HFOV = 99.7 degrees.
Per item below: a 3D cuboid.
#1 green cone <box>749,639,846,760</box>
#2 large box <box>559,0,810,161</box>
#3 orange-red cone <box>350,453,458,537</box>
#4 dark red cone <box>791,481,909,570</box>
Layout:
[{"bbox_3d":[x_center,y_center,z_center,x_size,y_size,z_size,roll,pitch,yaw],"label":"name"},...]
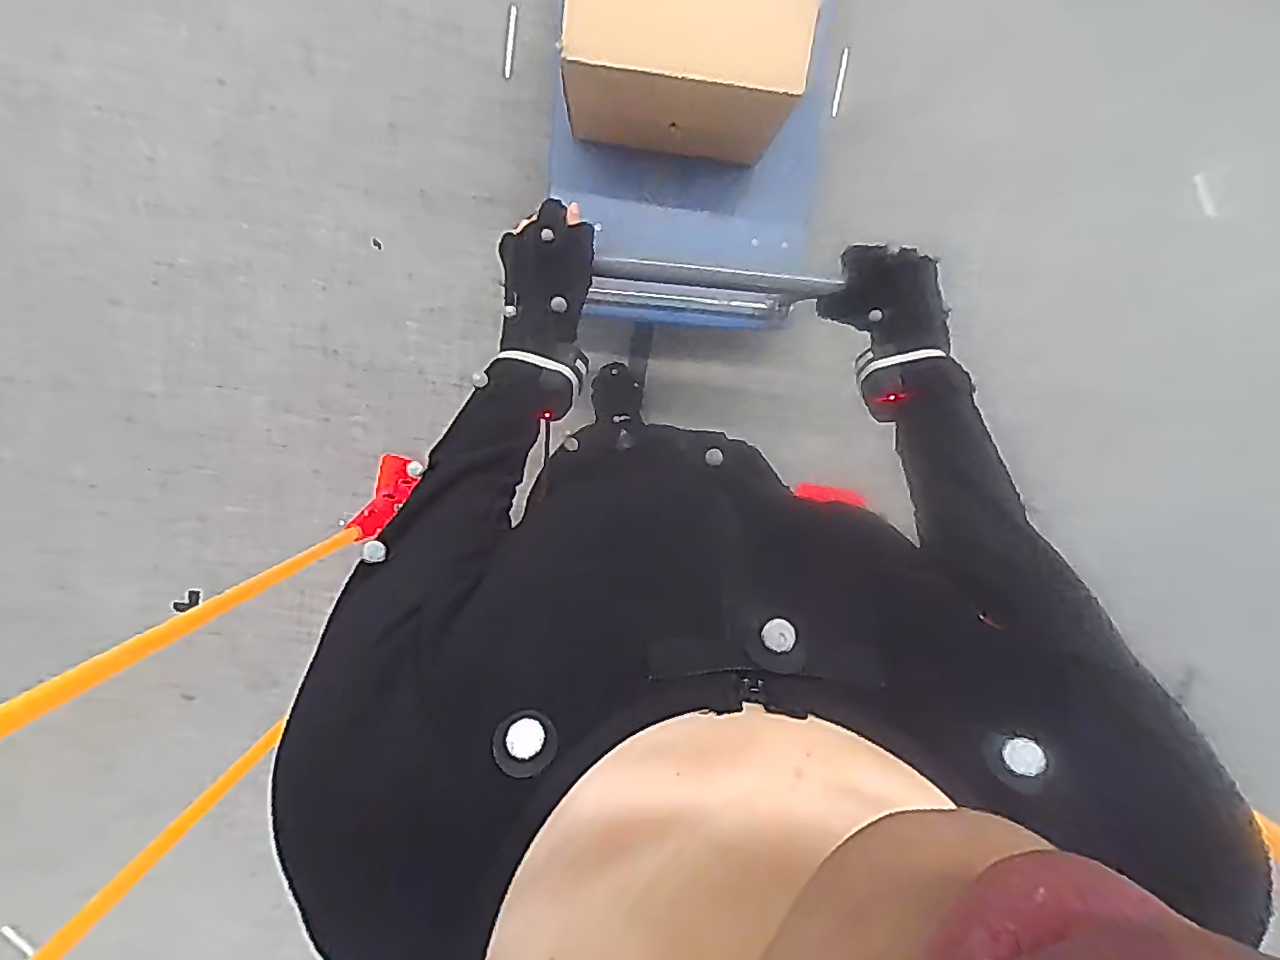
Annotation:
[{"bbox_3d":[0.444,0.606,1.432,0.202,0.368,0.200,11,100,-6],"label":"green cone"},{"bbox_3d":[0.077,-0.831,1.004,0.408,0.320,0.320,6,100,-3],"label":"large box"},{"bbox_3d":[-0.596,0.069,1.293,0.198,0.360,0.199,15,98,-6],"label":"orange-red cone"},{"bbox_3d":[0.535,0.139,1.332,0.201,0.394,0.202,7,101,-6],"label":"dark red cone"}]
